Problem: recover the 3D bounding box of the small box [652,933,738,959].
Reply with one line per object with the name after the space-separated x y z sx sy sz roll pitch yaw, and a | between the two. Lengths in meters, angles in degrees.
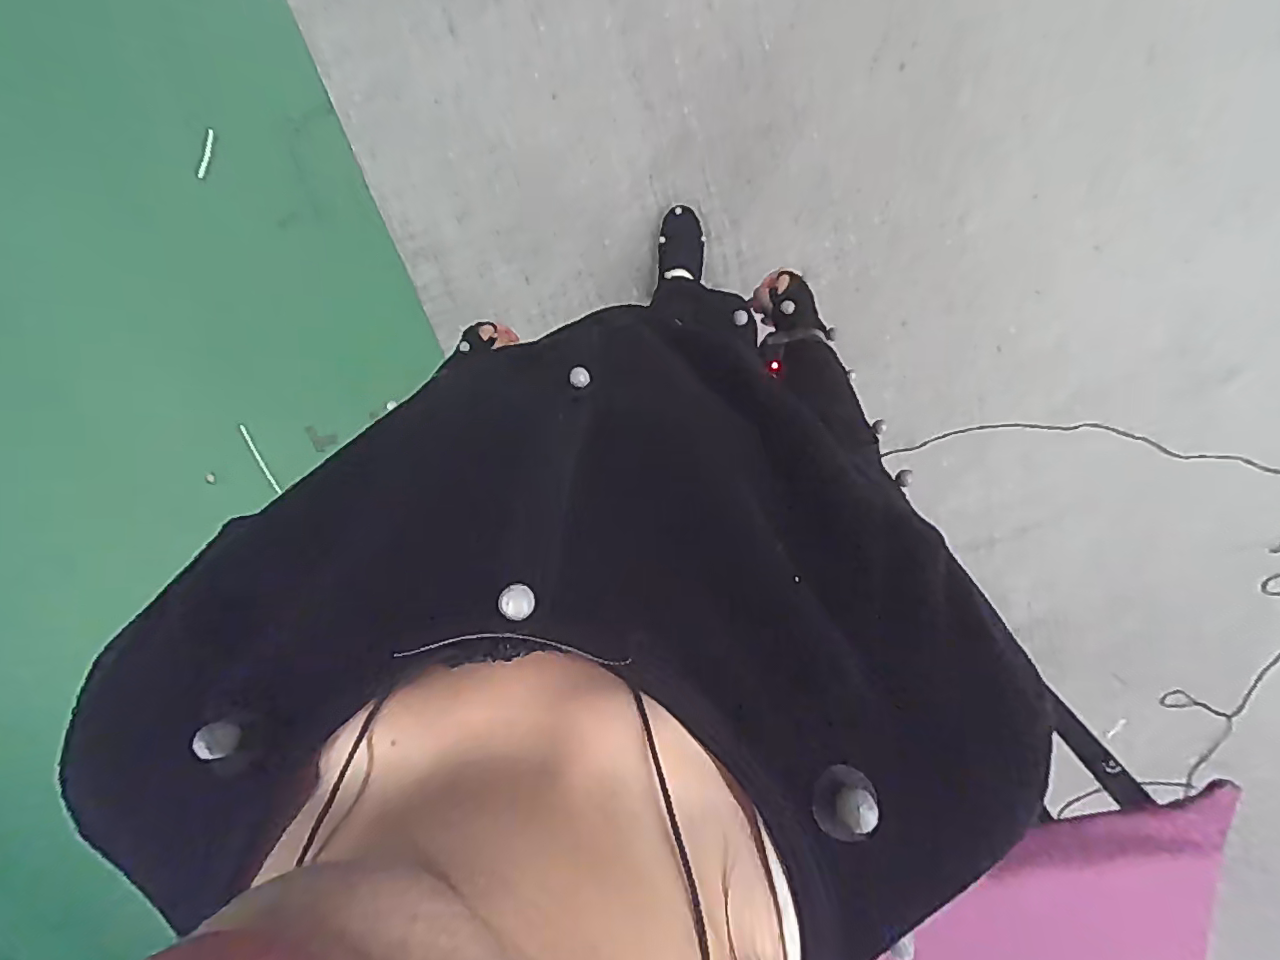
0.122 1.088 1.117 0.179 0.176 0.168 -19 110 9 | small box
